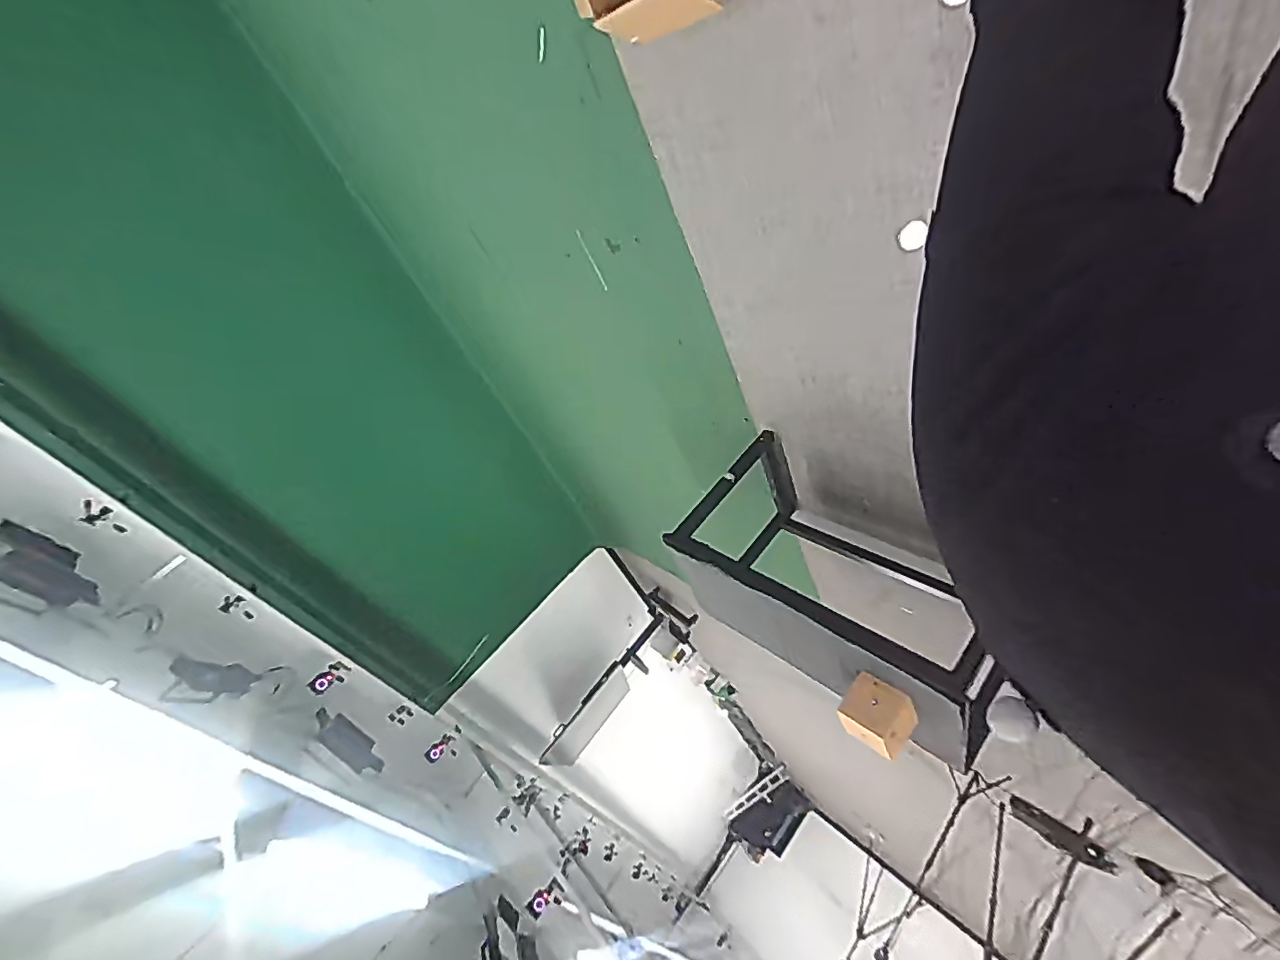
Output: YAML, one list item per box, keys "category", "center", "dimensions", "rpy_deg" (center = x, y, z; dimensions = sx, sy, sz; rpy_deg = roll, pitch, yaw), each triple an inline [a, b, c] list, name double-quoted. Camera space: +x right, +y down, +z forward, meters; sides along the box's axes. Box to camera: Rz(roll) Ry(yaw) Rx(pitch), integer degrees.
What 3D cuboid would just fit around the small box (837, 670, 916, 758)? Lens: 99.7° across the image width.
- category: "small box"
  center: [0.776, 0.759, 1.767]
  dimensions: [0.168, 0.176, 0.179]
  rpy_deg: [21, 151, 49]
